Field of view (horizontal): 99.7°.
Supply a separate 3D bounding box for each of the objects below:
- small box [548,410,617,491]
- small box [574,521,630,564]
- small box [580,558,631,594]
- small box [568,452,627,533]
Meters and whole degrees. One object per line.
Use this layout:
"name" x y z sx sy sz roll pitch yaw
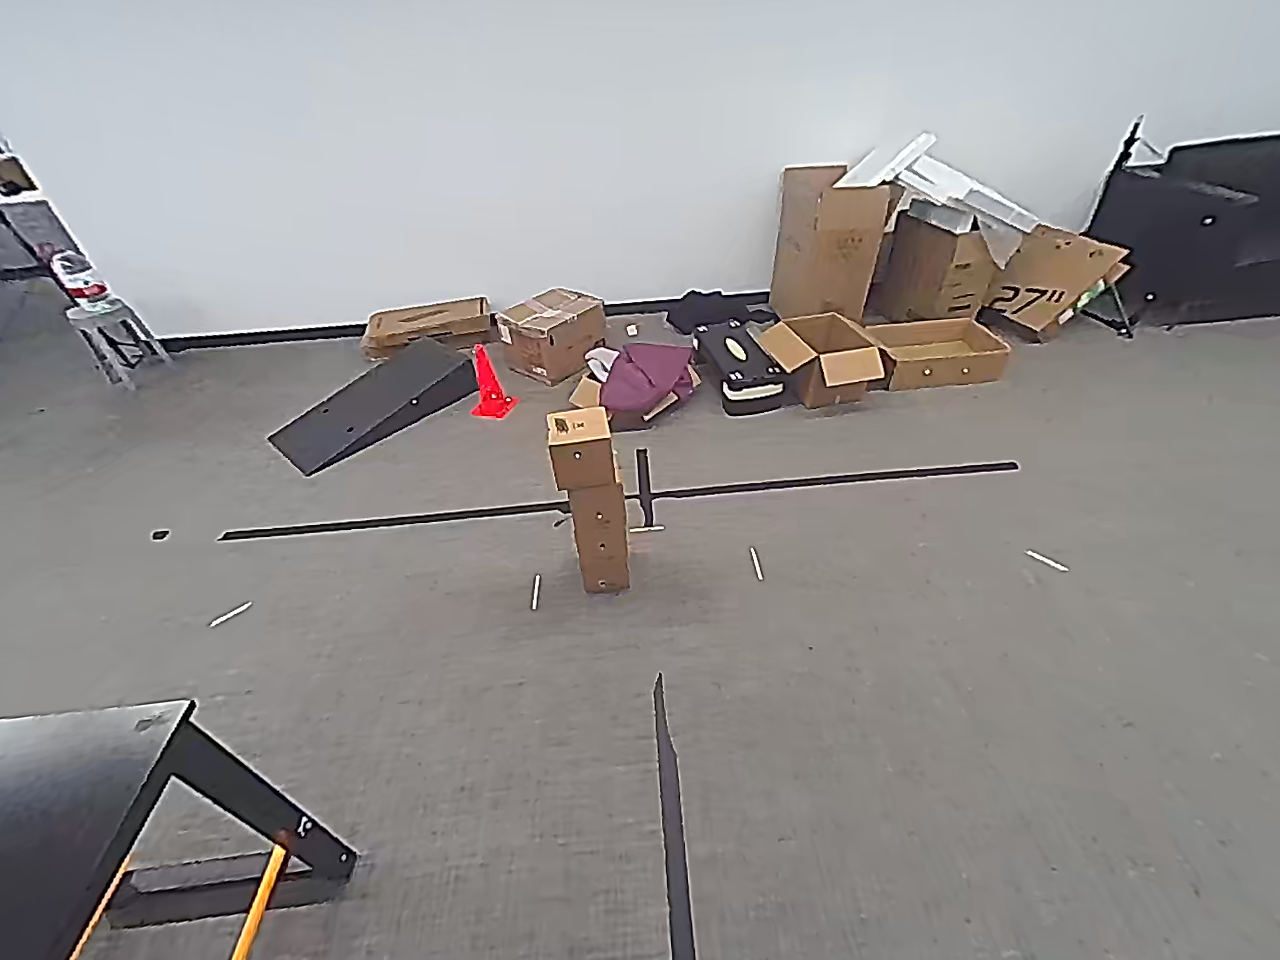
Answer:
"small box" -0.170 -0.084 1.594 0.179 0.176 0.168 -9 40 -4
"small box" -0.127 0.166 1.806 0.168 0.176 0.179 -6 40 -1
"small box" -0.123 0.281 1.924 0.168 0.176 0.179 -7 41 -2
"small box" -0.138 0.039 1.700 0.168 0.176 0.179 -10 40 -5
